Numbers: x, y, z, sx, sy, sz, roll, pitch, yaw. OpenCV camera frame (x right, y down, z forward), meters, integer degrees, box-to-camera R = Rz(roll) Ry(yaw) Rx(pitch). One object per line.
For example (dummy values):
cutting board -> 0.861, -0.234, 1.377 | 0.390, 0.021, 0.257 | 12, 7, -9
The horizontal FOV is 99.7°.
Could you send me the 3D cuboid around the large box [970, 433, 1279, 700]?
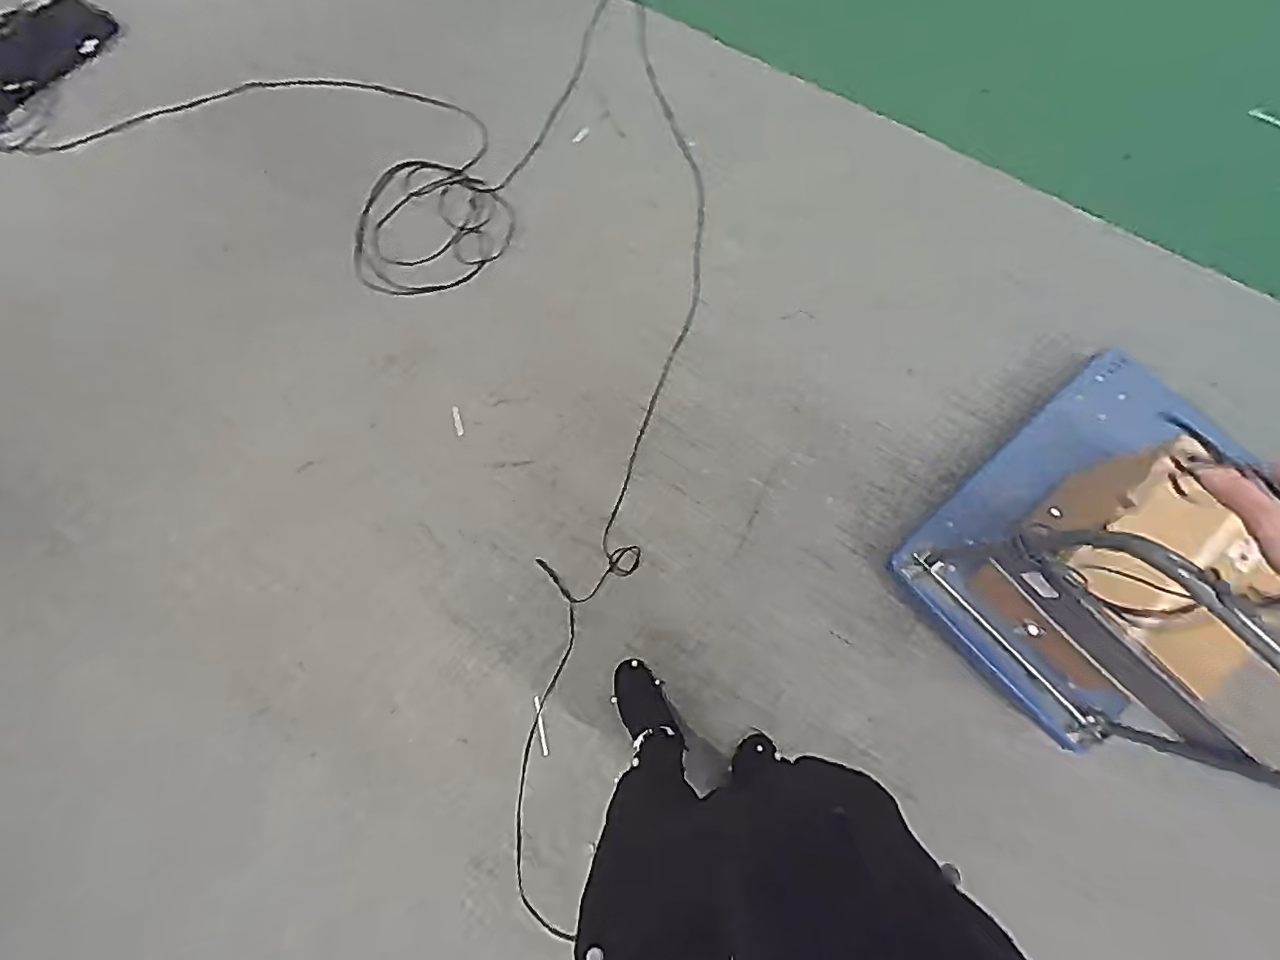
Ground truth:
large box -> 1.009, 0.184, 1.129 | 0.408, 0.320, 0.320 | -41, 79, -9
